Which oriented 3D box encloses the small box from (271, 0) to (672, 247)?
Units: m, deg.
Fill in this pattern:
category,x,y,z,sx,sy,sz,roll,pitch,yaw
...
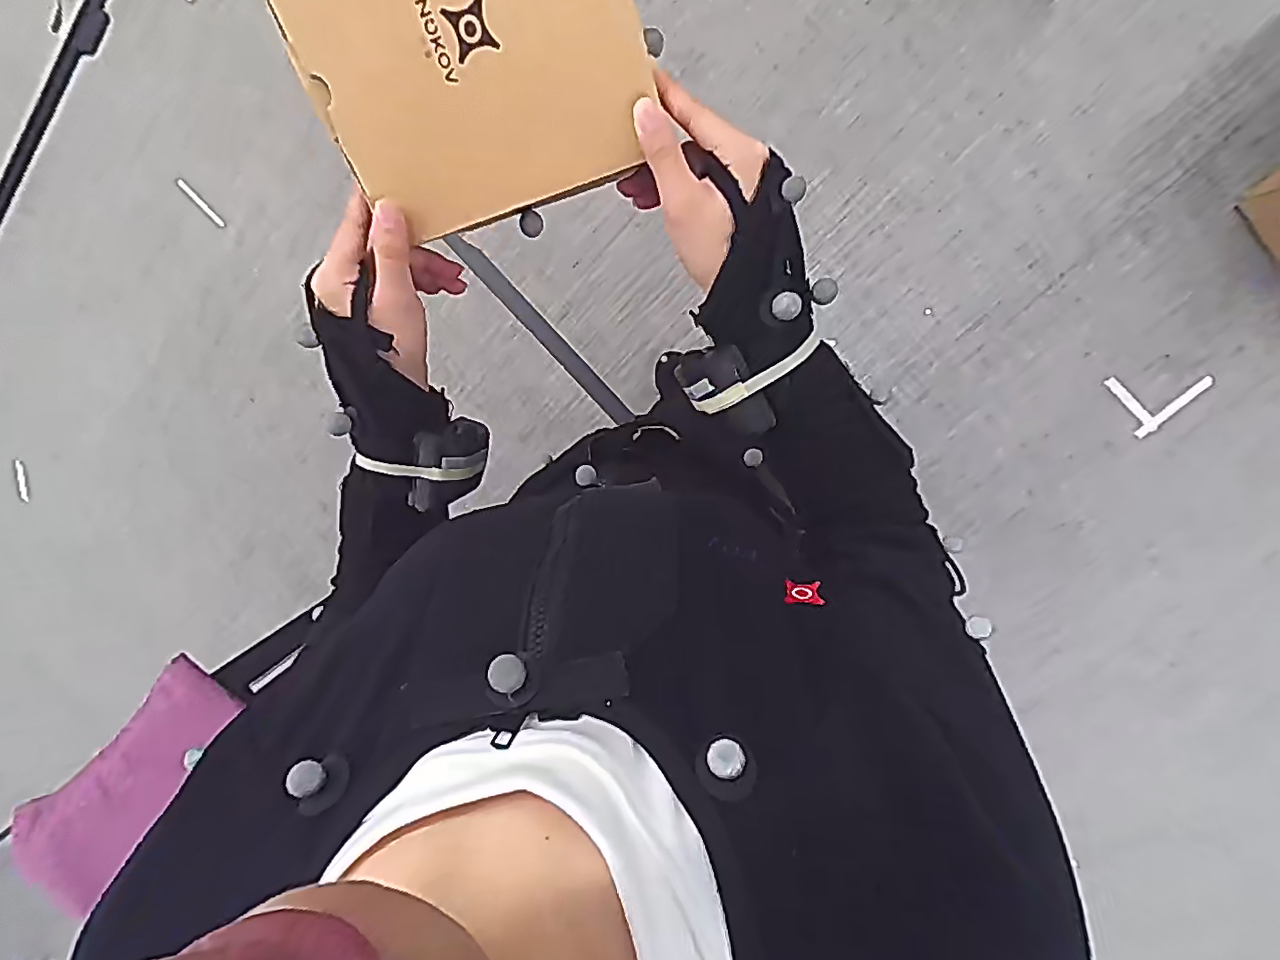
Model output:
category,x,y,z,sx,sy,sz,roll,pitch,yaw
small box,-0.088,-0.266,0.340,0.179,0.176,0.168,-15,118,9
